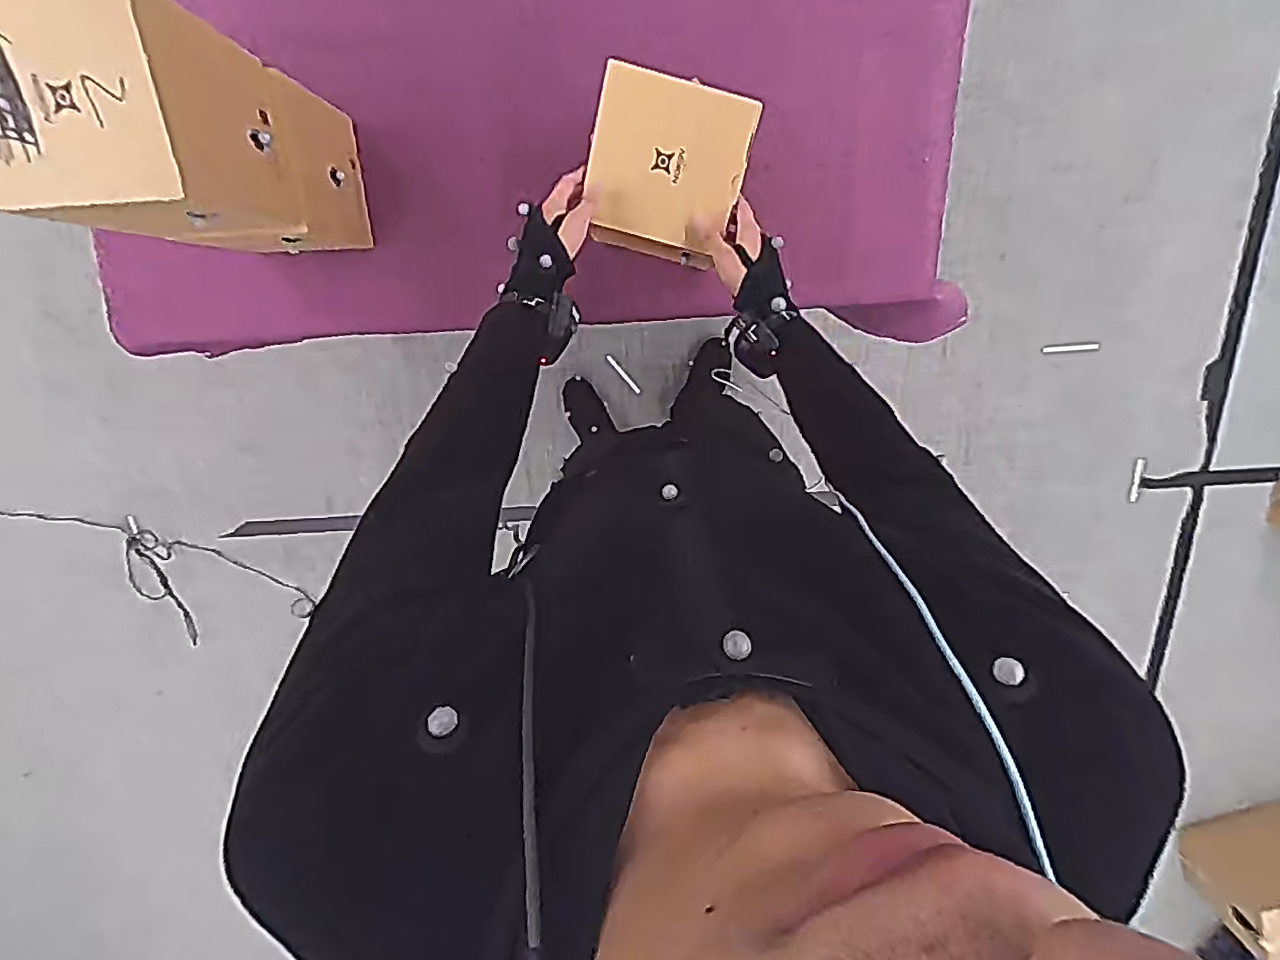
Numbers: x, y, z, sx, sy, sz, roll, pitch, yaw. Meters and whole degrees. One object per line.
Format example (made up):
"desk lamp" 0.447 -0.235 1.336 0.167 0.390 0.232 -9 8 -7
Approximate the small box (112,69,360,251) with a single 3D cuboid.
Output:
"small box" -0.476 -0.384 0.676 0.179 0.176 0.168 -2 108 0

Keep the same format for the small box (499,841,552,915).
"small box" -0.434 1.518 2.068 0.168 0.176 0.179 -1 109 1

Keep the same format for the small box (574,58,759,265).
"small box" 0.027 -0.379 0.679 0.179 0.176 0.168 13 107 -4
